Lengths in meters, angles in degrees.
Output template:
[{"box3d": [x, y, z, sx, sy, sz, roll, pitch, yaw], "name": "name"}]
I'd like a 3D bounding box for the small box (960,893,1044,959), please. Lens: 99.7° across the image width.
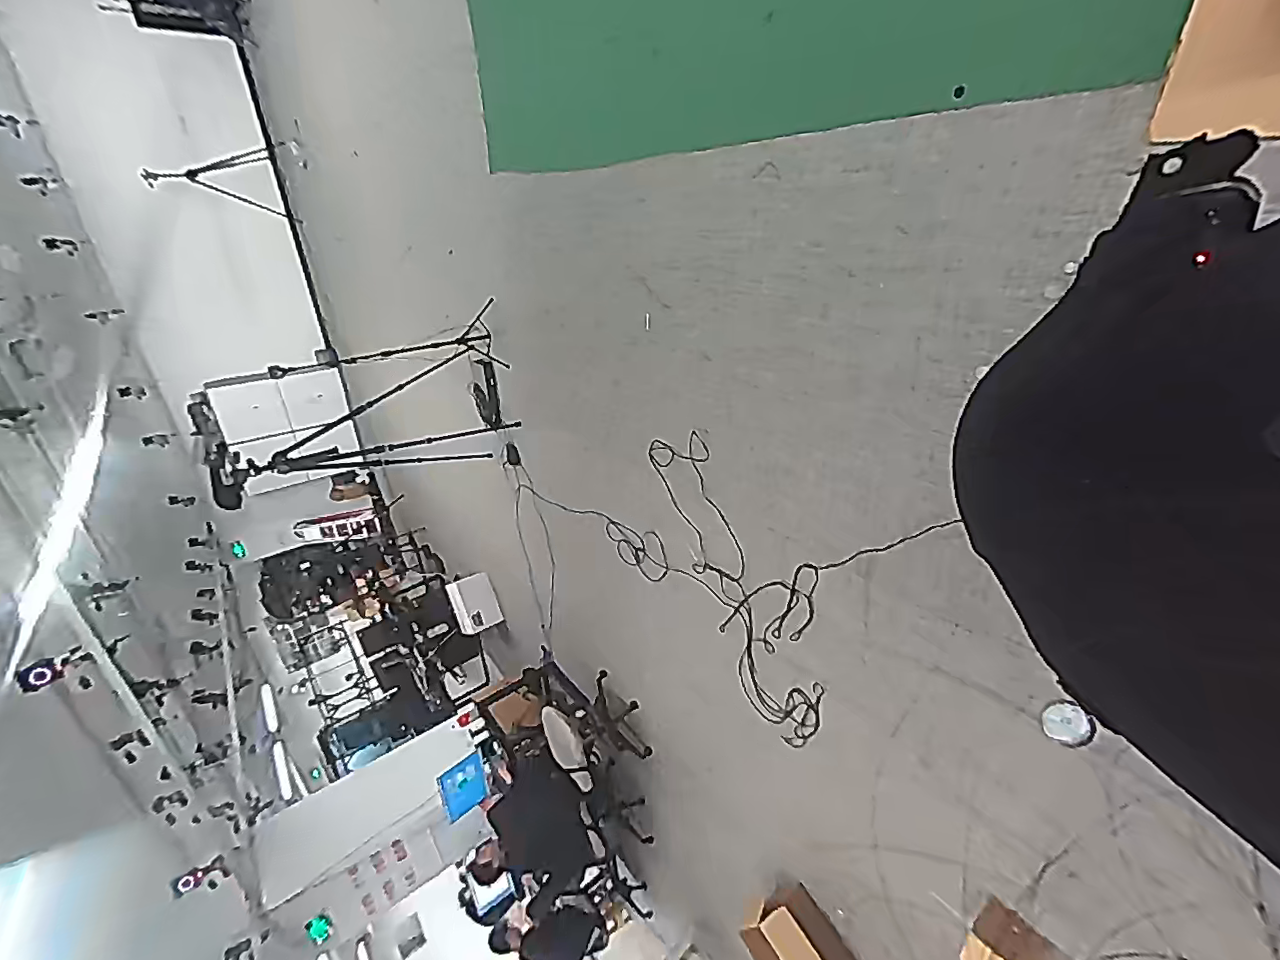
[{"box3d": [1.182, 1.517, 1.765, 0.168, 0.176, 0.179, 26, 127, 46], "name": "small box"}]
